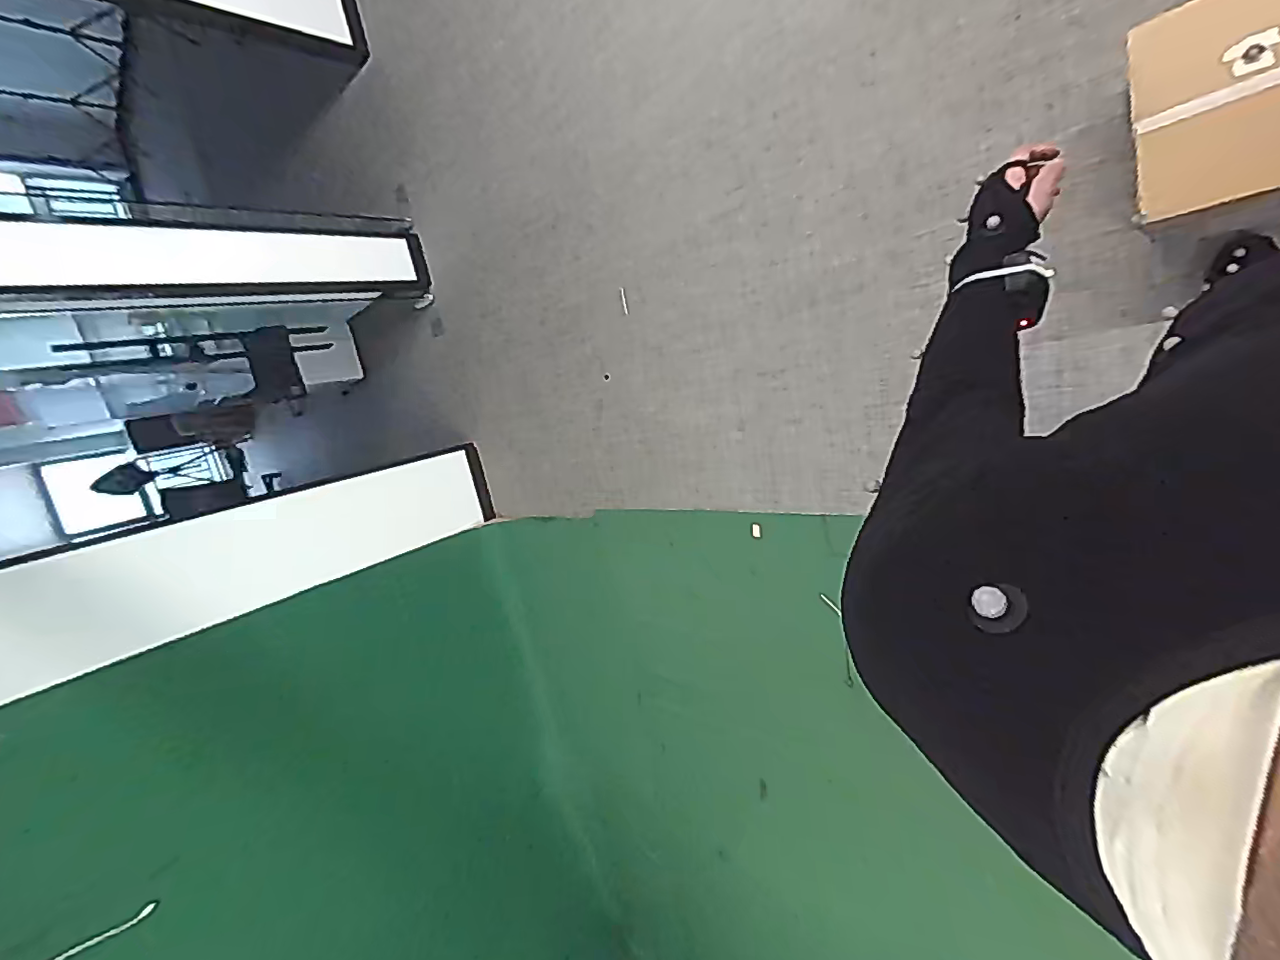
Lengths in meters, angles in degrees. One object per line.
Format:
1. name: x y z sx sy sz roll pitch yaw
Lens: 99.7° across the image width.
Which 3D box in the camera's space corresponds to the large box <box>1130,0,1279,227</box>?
1. large box: 1.095 -0.651 0.884 0.408 0.320 0.320 -5 101 46
